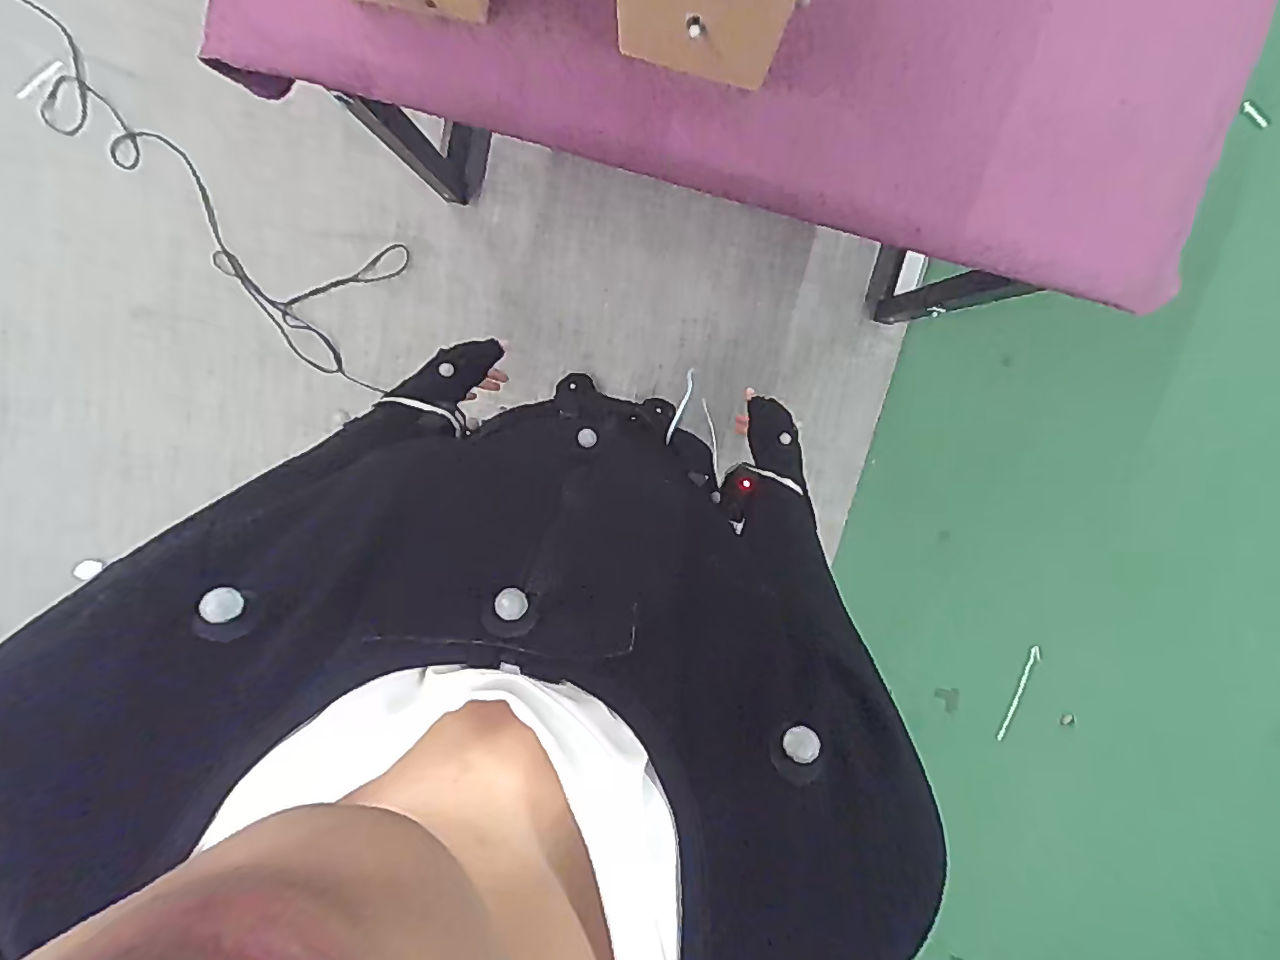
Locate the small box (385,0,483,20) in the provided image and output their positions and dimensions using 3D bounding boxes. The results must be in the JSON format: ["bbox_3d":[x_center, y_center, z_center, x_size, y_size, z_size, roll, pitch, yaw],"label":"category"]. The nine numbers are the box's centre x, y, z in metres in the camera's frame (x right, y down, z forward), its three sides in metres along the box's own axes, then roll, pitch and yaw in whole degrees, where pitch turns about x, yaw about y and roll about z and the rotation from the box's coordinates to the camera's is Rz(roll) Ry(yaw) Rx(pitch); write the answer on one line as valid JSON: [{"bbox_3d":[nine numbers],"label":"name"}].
[{"bbox_3d":[-0.250,-0.626,0.541,0.168,0.176,0.179,9,100,-4],"label":"small box"}]
